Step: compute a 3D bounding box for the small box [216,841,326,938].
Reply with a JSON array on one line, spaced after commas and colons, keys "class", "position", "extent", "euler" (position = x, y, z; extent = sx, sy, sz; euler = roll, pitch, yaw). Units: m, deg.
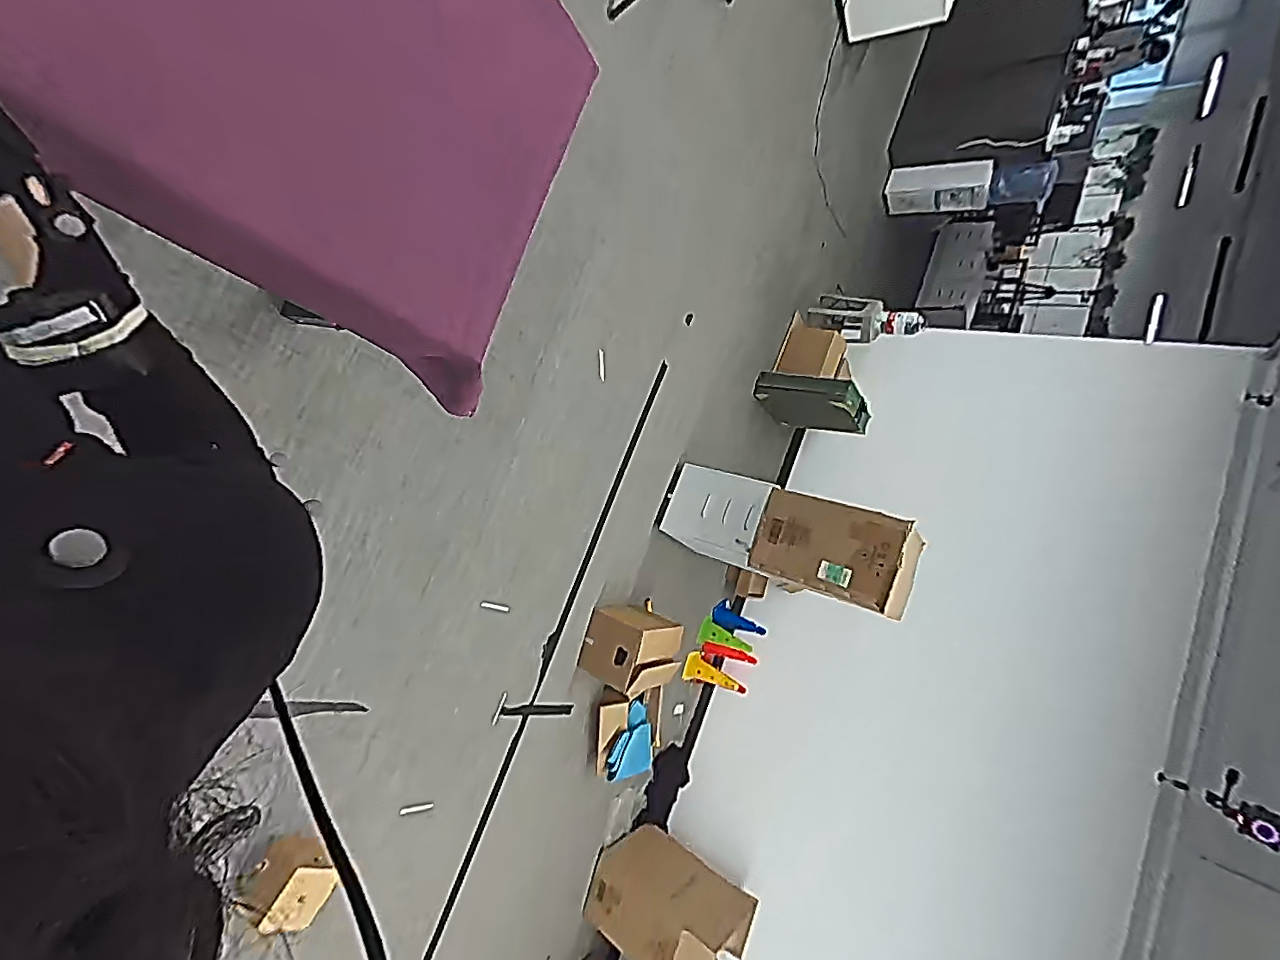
[{"class": "small box", "position": [-1.077, 1.190, 1.580], "extent": [0.168, 0.176, 0.179], "euler": [-60, 143, -23]}]
